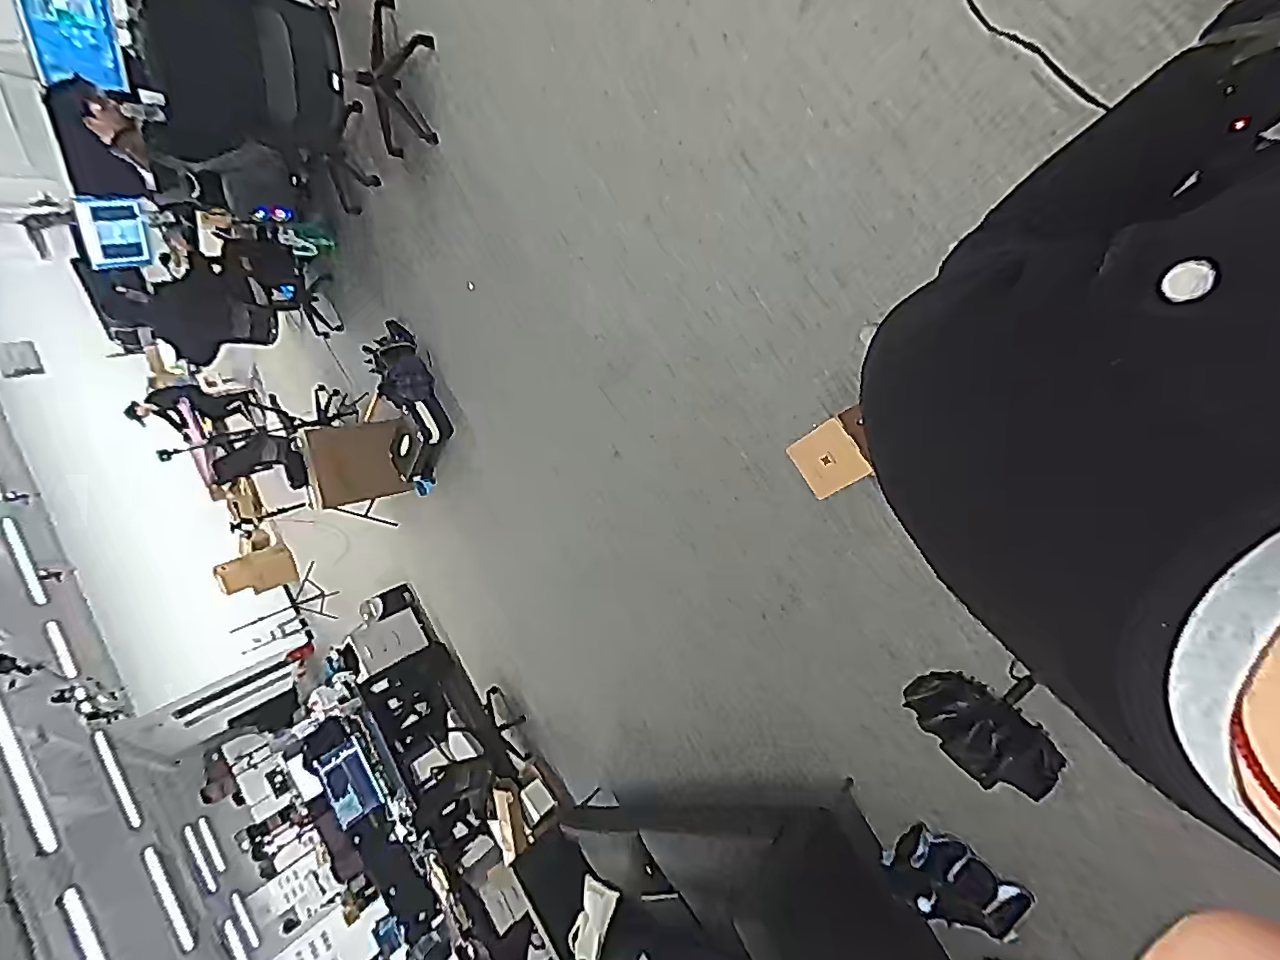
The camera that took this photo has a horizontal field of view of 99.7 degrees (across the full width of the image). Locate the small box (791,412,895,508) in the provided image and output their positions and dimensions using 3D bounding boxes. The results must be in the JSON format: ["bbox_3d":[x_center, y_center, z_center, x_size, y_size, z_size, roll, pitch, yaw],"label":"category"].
[{"bbox_3d":[0.544,-0.057,1.433,0.168,0.176,0.179,57,140,9],"label":"small box"}]
